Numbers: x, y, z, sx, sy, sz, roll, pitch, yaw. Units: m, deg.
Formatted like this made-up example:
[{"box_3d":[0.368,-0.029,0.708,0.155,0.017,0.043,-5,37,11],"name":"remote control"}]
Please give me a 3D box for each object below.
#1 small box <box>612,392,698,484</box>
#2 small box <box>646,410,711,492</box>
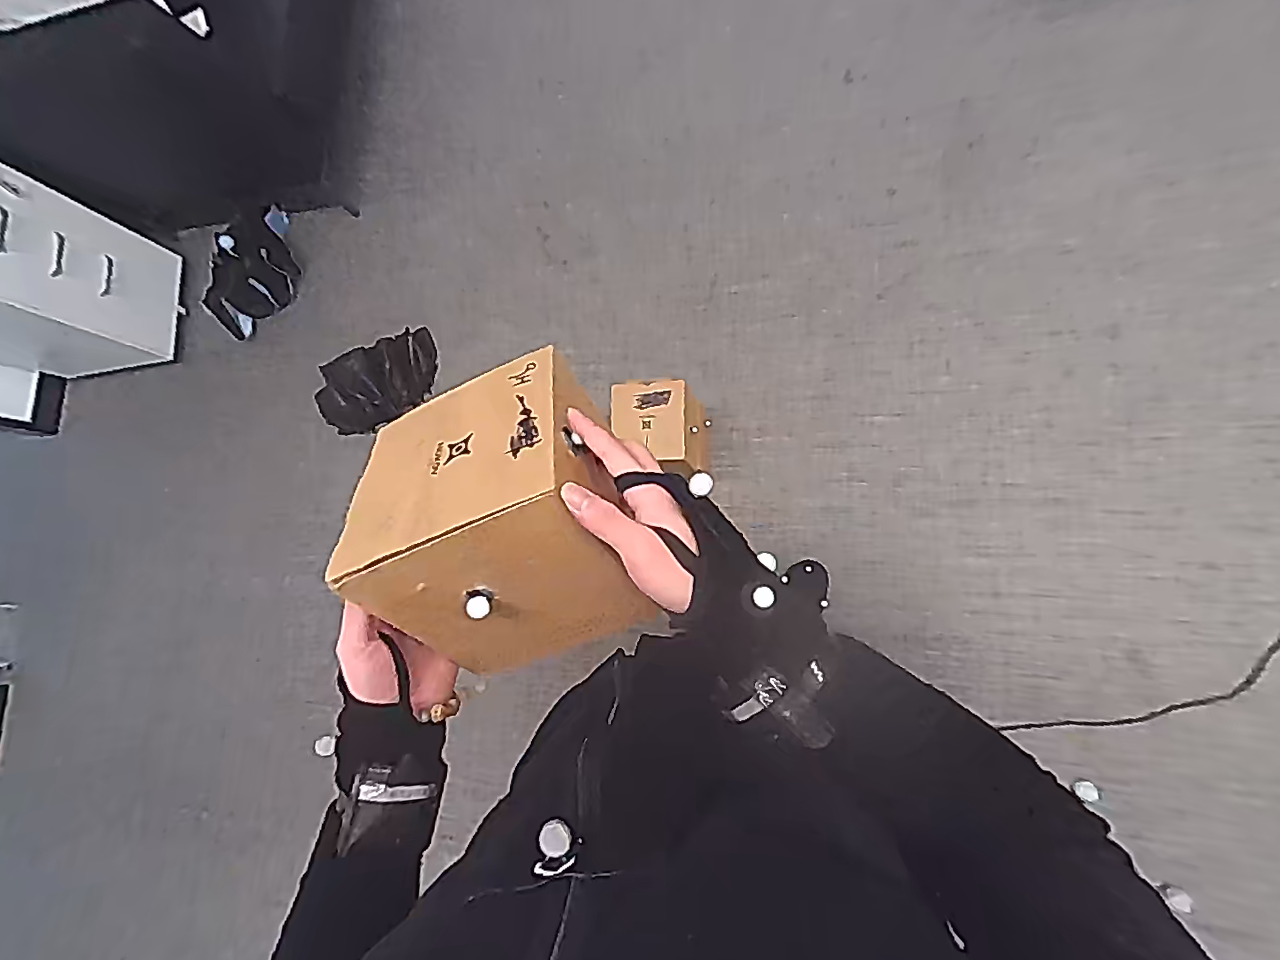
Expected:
[{"box_3d":[0.039,-0.090,1.241,0.168,0.176,0.179,-2,81,15],"name":"small box"},{"box_3d":[0.089,-0.068,1.397,0.168,0.176,0.179,-4,81,15],"name":"small box"}]
